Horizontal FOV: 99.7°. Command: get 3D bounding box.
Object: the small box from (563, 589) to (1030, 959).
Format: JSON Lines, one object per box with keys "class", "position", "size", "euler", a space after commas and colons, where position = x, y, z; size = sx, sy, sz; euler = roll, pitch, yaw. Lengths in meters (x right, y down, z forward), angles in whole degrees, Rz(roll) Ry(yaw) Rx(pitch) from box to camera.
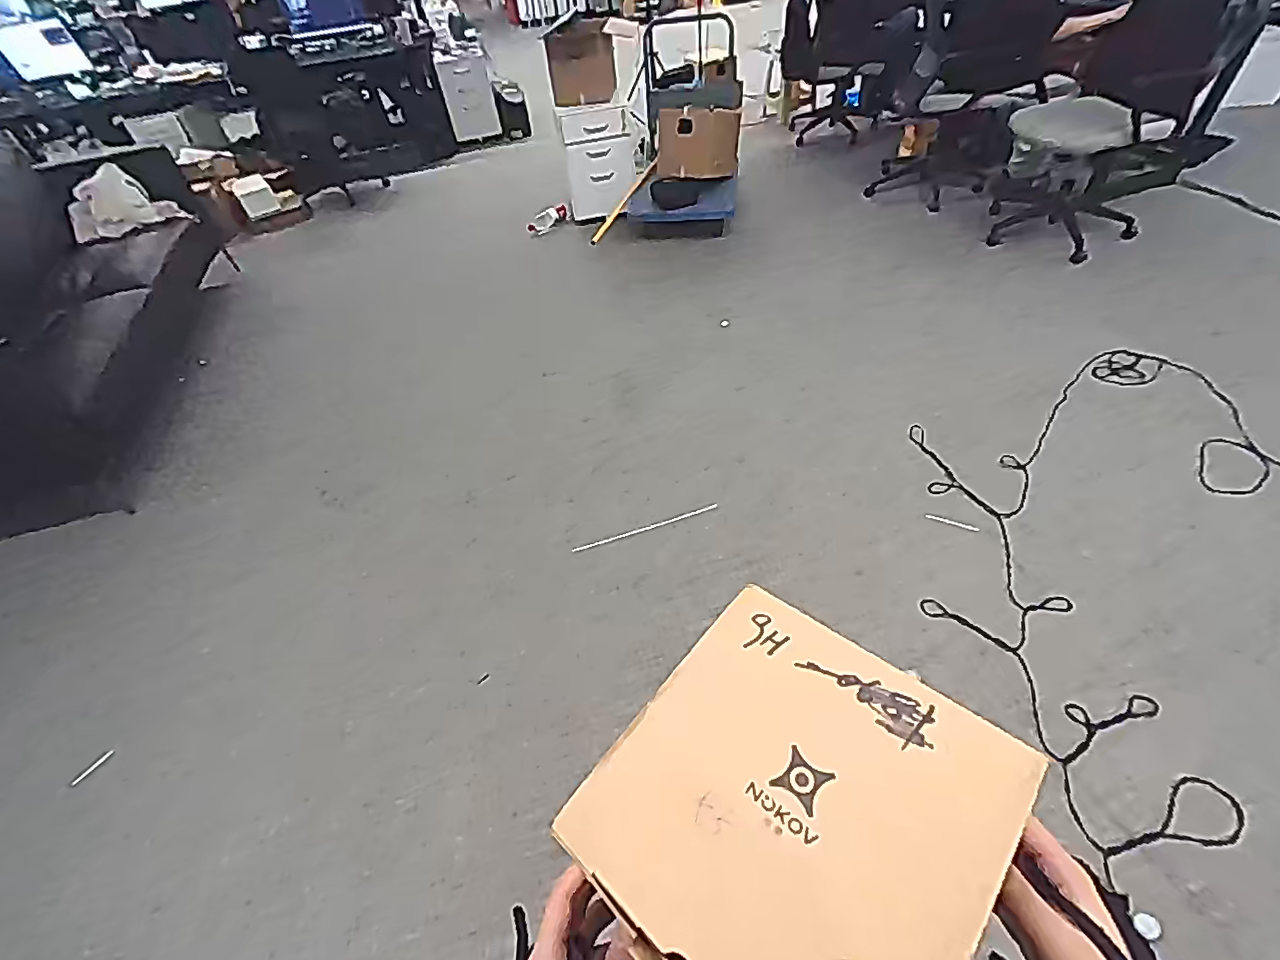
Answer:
{"class": "small box", "position": [0.089, 0.208, 0.324], "size": [0.168, 0.176, 0.179], "euler": [28, 59, 34]}
